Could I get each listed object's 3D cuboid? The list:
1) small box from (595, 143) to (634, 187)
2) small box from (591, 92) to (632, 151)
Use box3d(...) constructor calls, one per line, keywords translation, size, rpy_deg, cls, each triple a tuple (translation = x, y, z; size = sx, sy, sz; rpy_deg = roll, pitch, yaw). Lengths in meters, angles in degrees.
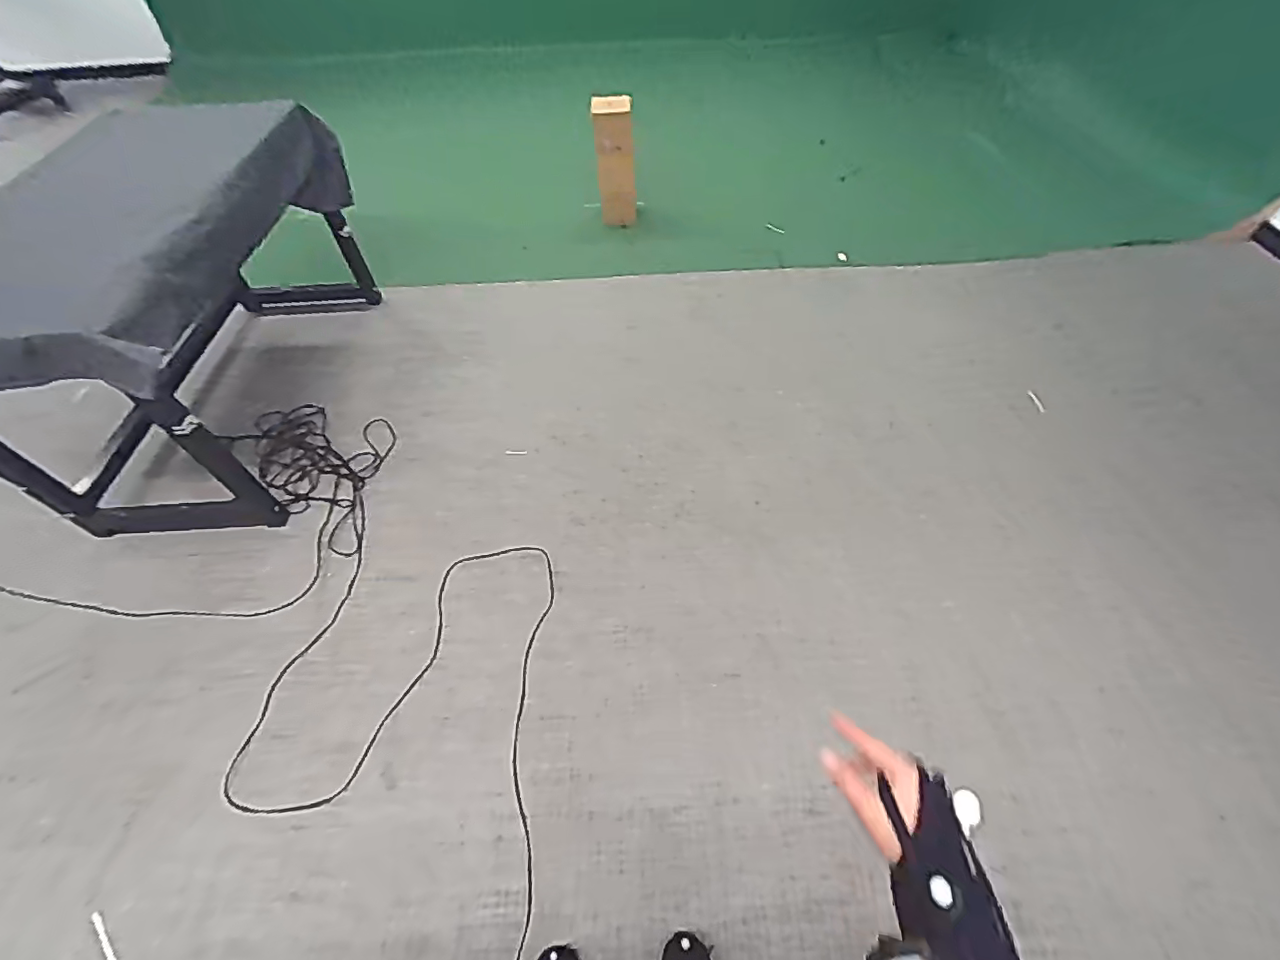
box3d(translation=(-0.112, -1.468, 2.489), size=(0.168, 0.176, 0.179), rpy_deg=(-2, 53, 2), cls="small box")
box3d(translation=(-0.123, -1.561, 2.355), size=(0.168, 0.176, 0.179), rpy_deg=(-4, 54, 1), cls="small box")
